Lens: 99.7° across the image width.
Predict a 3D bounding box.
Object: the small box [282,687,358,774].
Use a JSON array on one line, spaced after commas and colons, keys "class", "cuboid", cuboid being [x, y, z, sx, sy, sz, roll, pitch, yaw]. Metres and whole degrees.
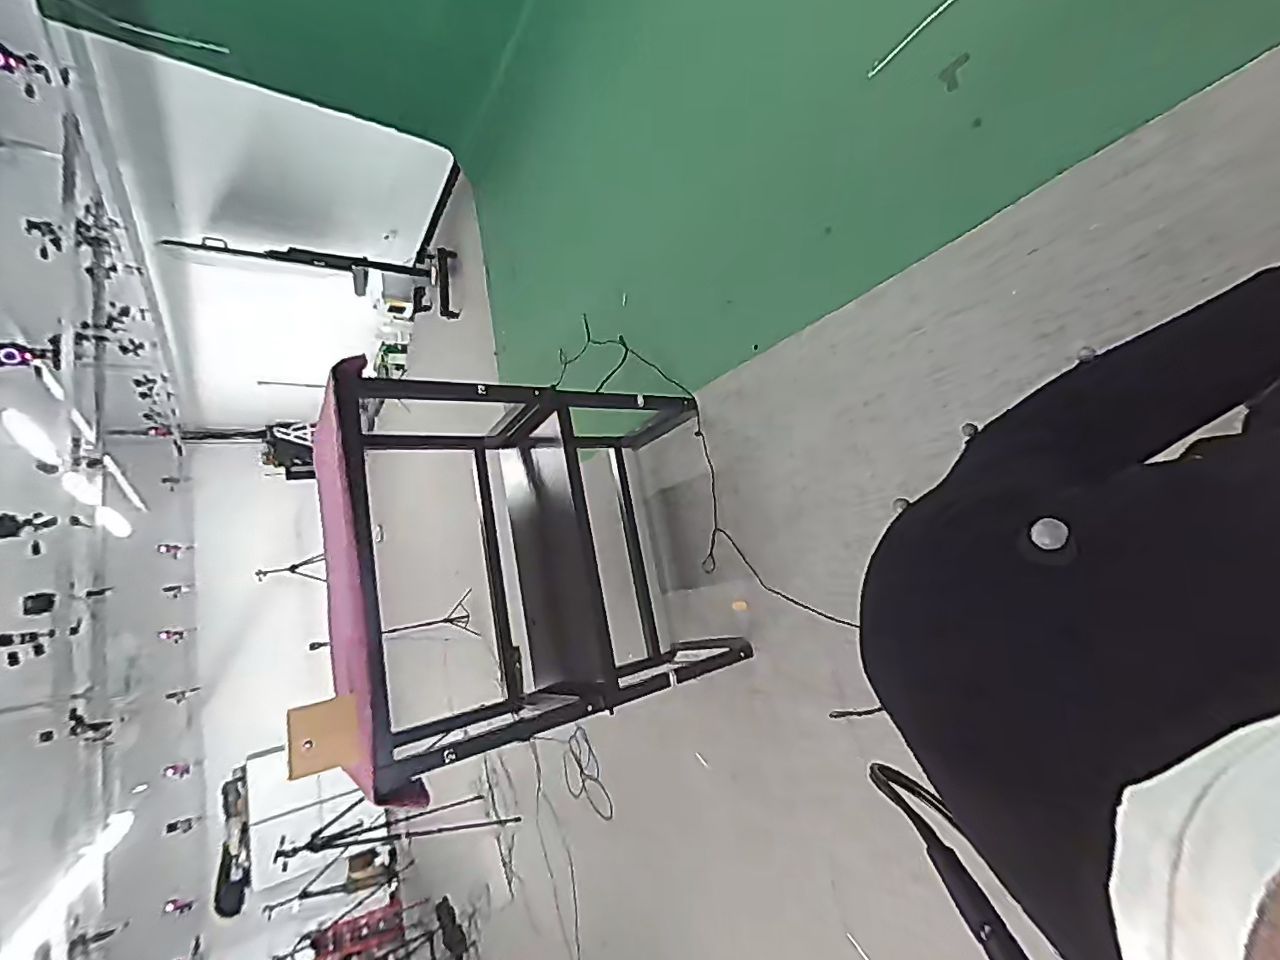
[{"class": "small box", "cuboid": [-0.886, 0.684, 1.495, 0.168, 0.176, 0.179, -30, 67, 50]}]
